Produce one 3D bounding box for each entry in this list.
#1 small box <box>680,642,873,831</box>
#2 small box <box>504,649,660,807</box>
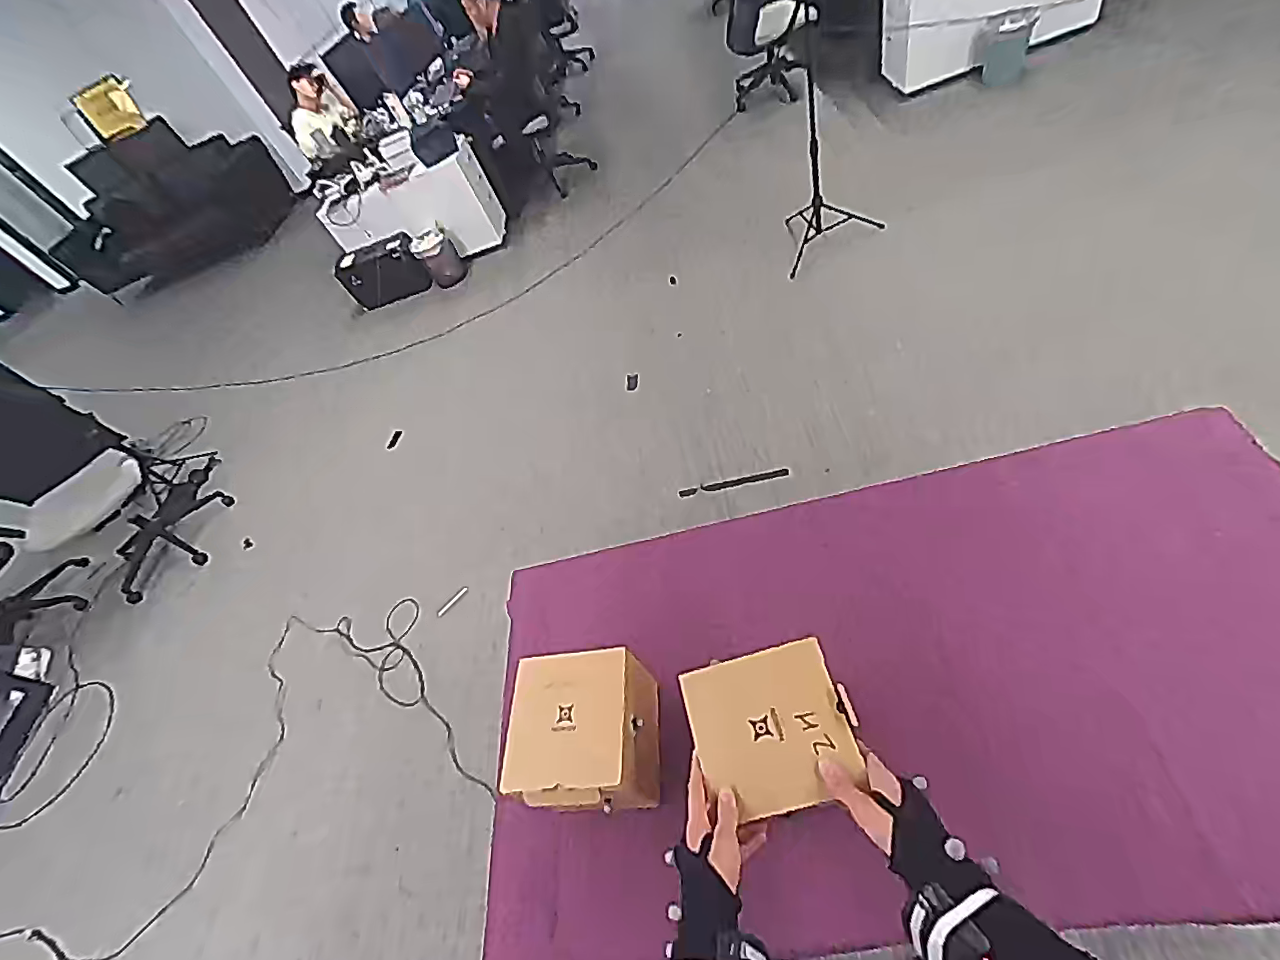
[{"bbox_3d":[0.165,0.324,0.669,0.179,0.176,0.168,-18,55,6],"label":"small box"},{"bbox_3d":[-0.070,0.363,0.777,0.168,0.176,0.179,-10,50,14],"label":"small box"}]
